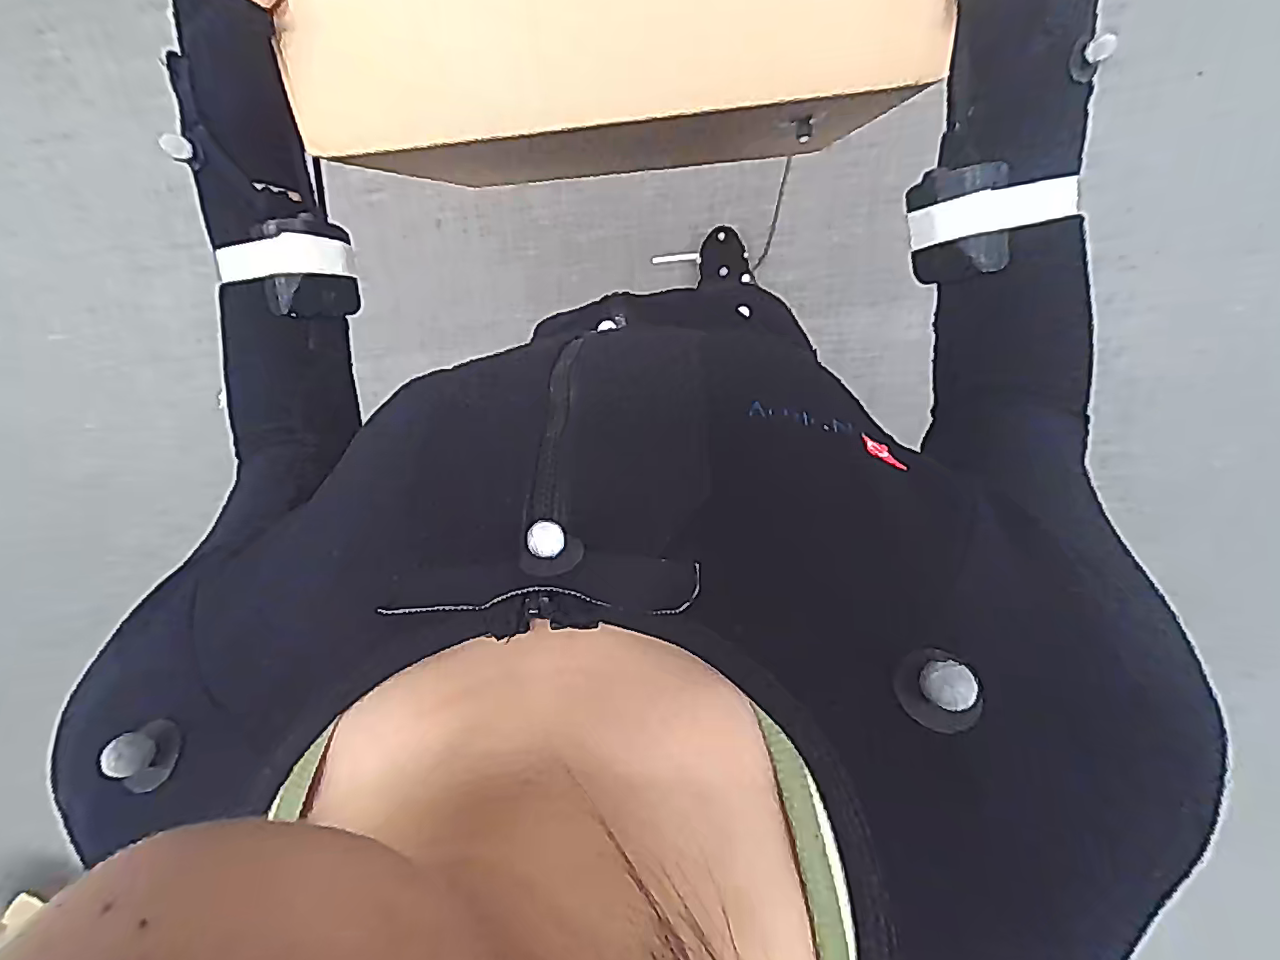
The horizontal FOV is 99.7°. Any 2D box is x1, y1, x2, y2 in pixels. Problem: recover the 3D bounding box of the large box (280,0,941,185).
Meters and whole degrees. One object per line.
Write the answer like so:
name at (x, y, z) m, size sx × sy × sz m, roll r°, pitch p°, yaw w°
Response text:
large box at (-0.022, -0.432, 0.422) m, size 0.408 × 0.320 × 0.320 m, roll -4°, pitch 114°, yaw 5°
